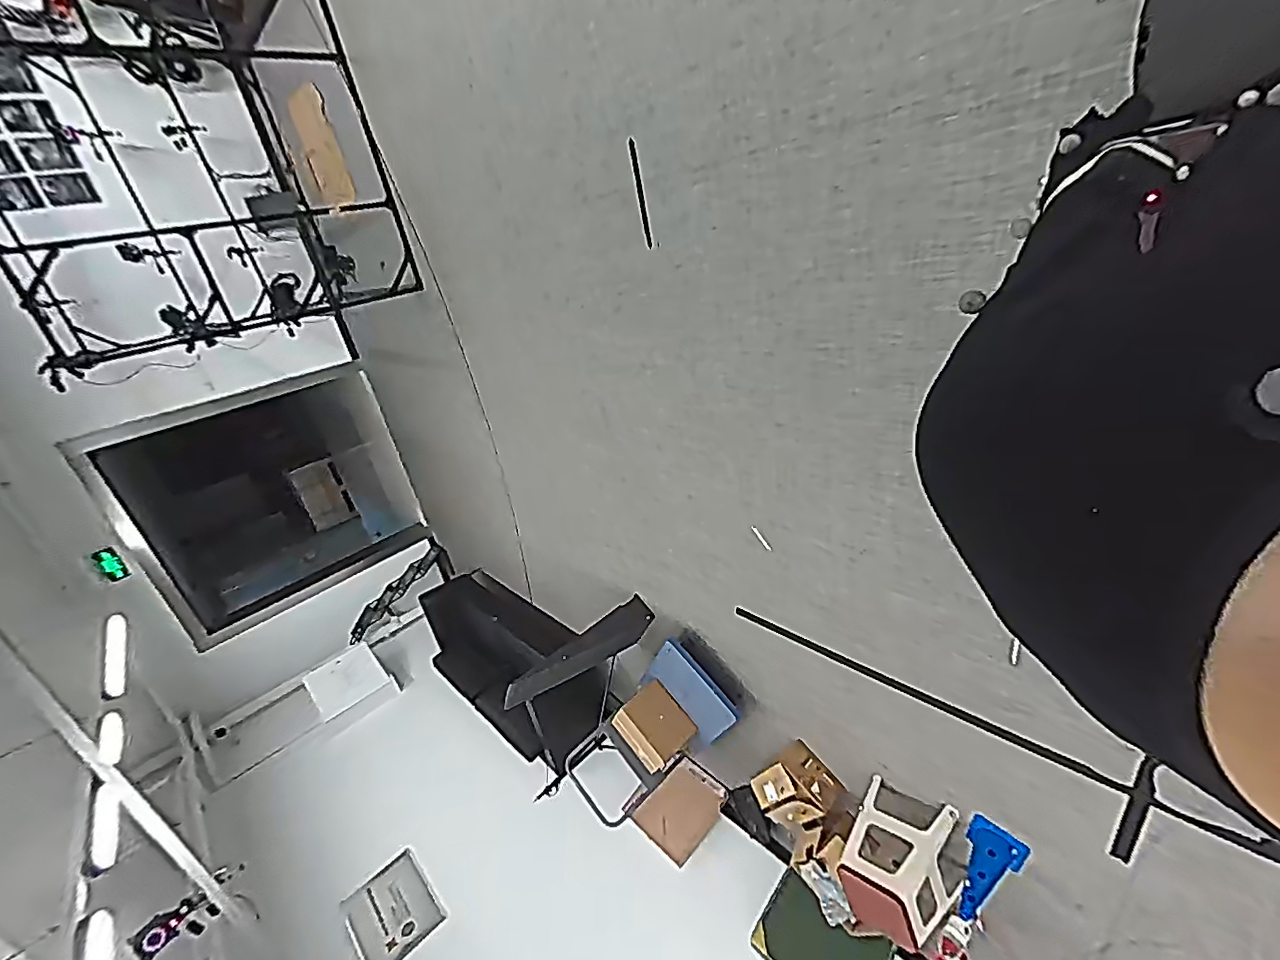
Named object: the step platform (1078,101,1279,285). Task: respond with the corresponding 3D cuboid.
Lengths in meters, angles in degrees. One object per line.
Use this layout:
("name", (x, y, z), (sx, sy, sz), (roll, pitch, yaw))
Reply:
("step platform", (1.188, -0.512, 0.922), (0.684, 0.204, 0.286), (16, 126, 47))
